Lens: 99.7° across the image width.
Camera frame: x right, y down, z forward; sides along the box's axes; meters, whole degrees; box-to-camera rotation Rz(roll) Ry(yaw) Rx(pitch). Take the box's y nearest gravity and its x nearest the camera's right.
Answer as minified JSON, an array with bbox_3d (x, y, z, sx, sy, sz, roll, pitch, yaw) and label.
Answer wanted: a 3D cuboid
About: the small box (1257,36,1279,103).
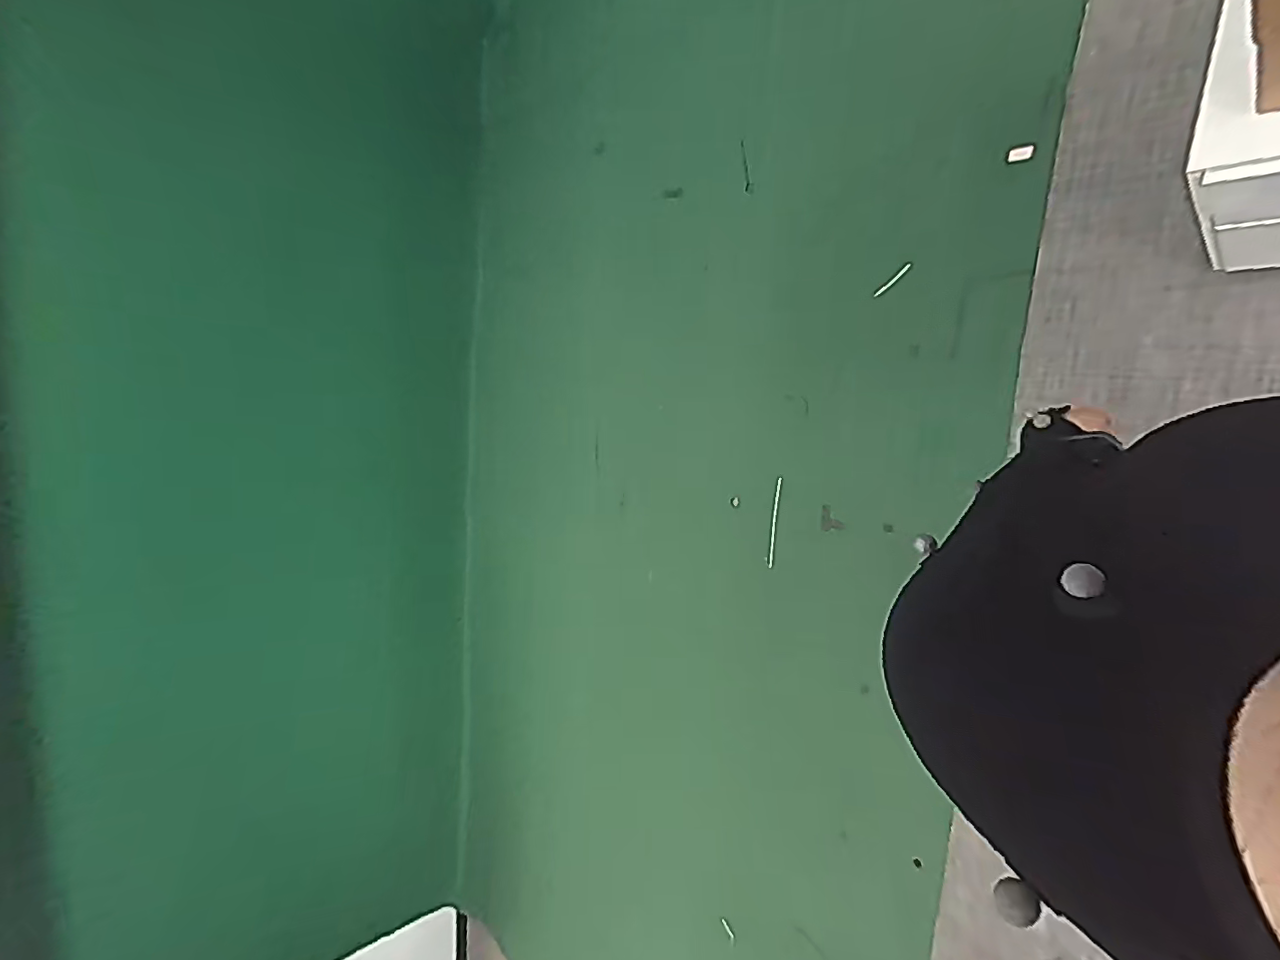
[{"bbox_3d":[0.714,-0.478,0.490,0.179,0.176,0.168,23,108,45],"label":"small box"}]
